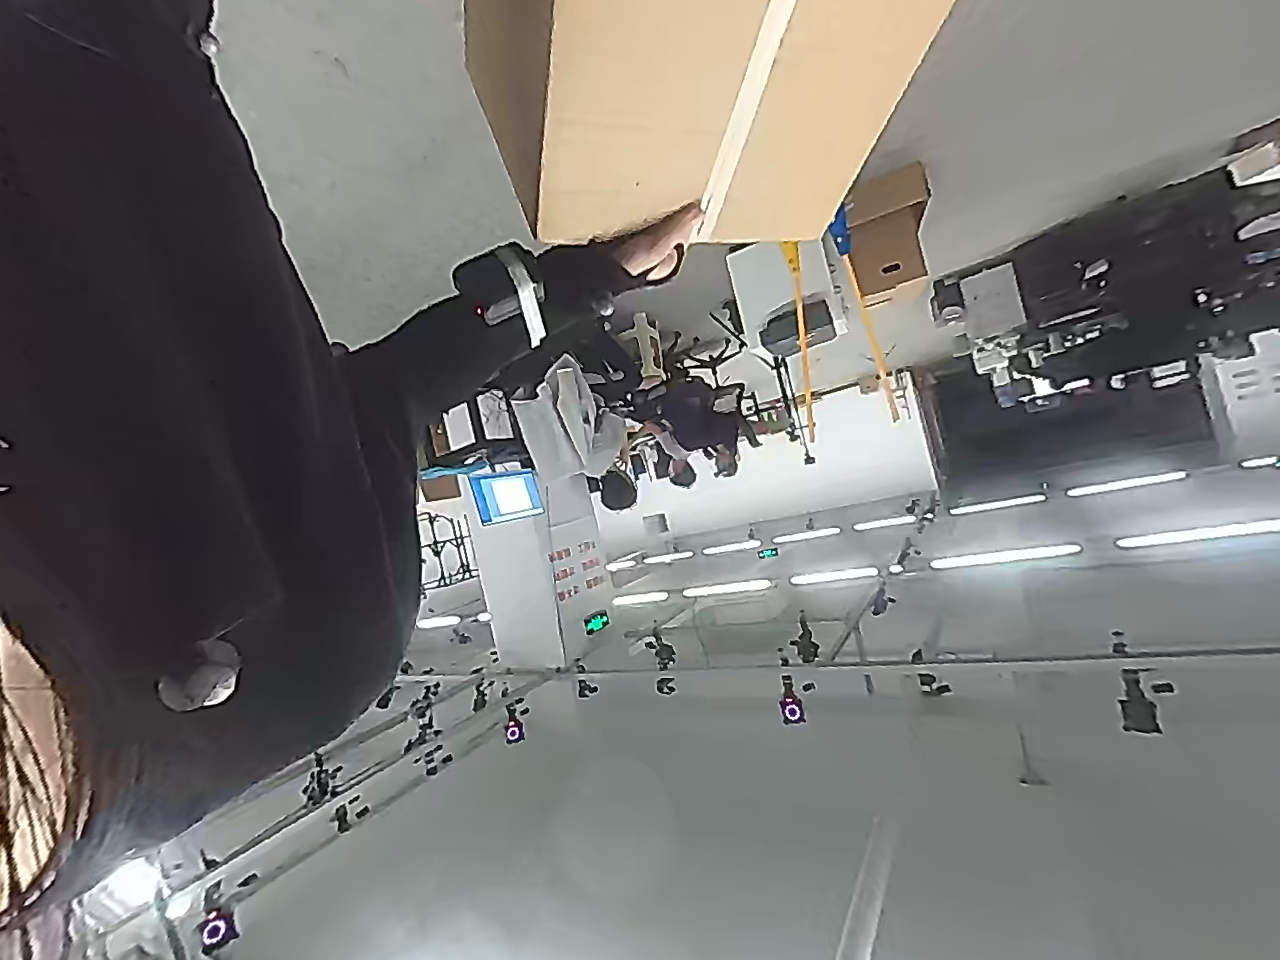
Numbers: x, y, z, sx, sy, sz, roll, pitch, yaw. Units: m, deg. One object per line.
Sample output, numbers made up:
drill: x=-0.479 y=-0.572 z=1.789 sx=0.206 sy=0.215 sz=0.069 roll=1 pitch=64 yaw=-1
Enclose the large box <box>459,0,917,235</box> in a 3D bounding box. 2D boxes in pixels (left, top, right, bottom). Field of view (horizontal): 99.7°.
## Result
large box: x=0.027 y=-0.469 z=0.433 sx=0.320 sy=0.320 sz=0.408 roll=-11 pitch=151 yaw=-21
